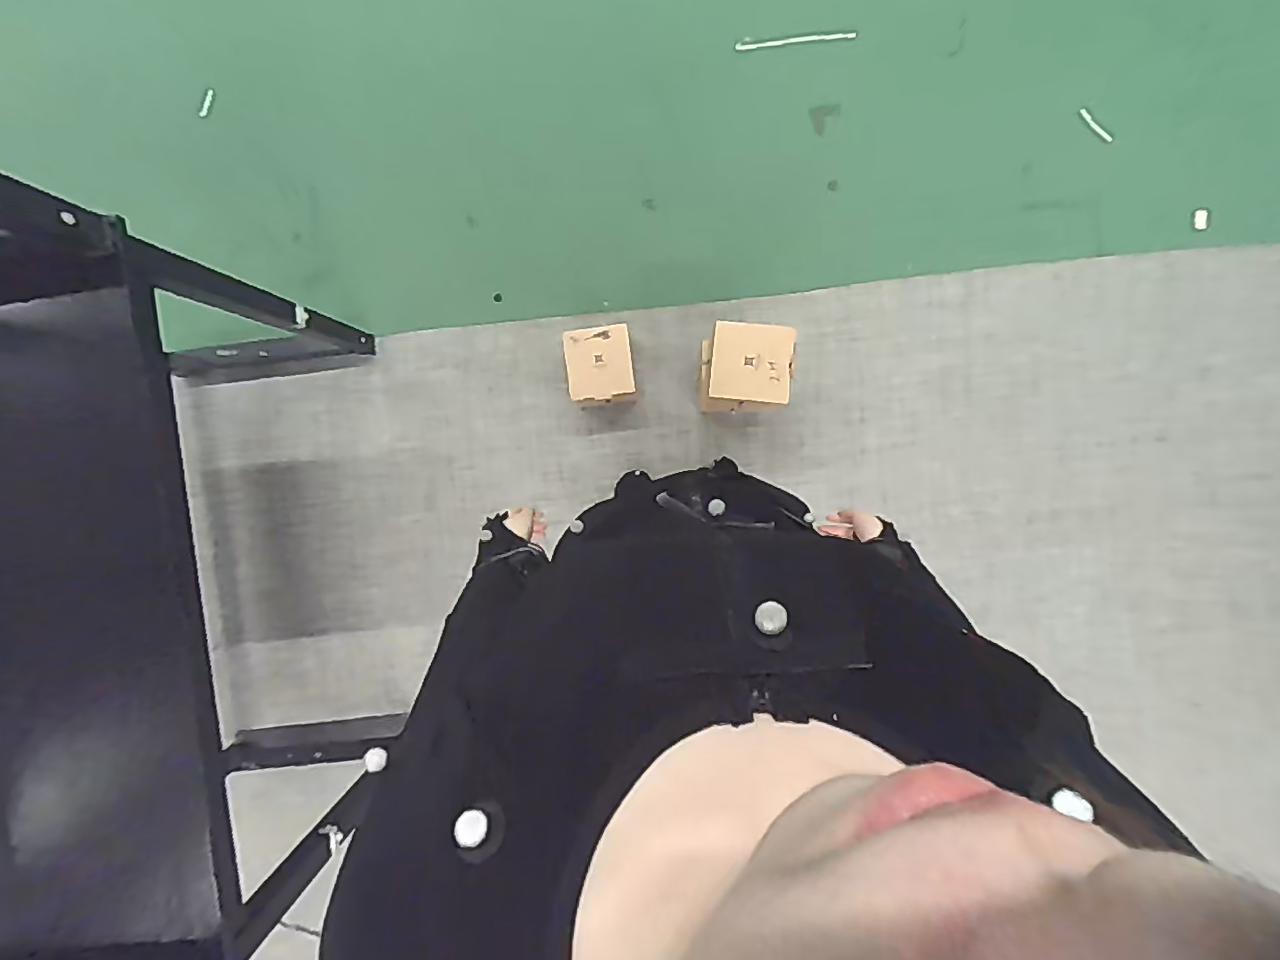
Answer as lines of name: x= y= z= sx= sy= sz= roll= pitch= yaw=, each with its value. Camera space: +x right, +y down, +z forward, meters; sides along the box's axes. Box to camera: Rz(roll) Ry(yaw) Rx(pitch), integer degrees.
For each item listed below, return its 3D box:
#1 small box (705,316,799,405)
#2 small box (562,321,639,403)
small box: x=0.243 y=-0.263 z=1.221 sx=0.179 sy=0.176 sz=0.168 roll=5 pitch=94 yaw=2
small box: x=-0.096 y=-0.297 z=1.397 sx=0.168 sy=0.176 sz=0.179 roll=-7 pitch=92 yaw=3
